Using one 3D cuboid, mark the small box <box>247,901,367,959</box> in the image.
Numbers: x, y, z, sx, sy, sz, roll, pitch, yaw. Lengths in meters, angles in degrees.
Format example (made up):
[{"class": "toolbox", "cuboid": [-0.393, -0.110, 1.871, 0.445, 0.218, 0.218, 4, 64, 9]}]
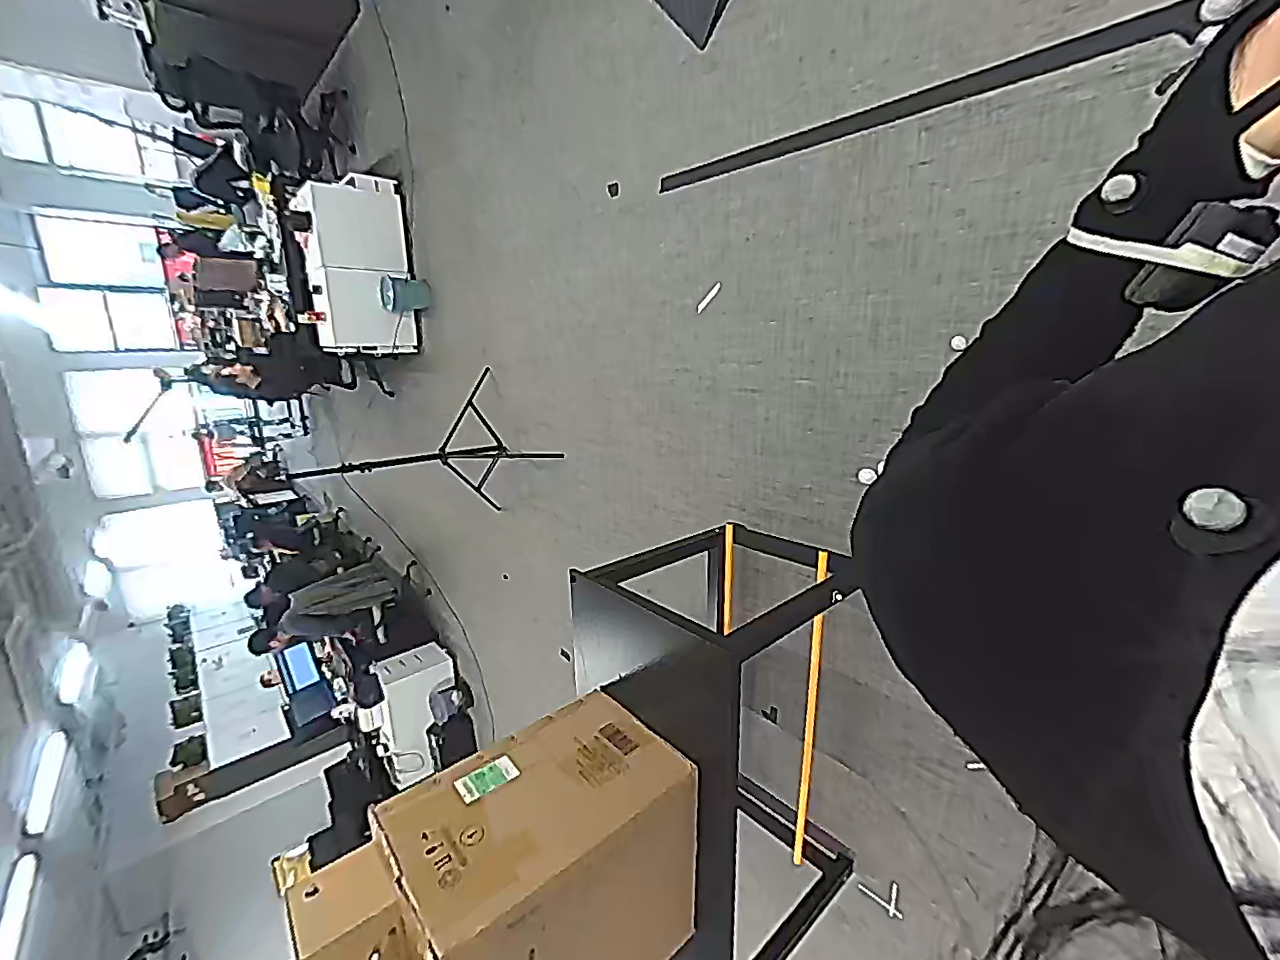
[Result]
[{"class": "small box", "cuboid": [-0.606, 0.937, 1.001, 0.179, 0.176, 0.168, 14, 112, 49]}]
